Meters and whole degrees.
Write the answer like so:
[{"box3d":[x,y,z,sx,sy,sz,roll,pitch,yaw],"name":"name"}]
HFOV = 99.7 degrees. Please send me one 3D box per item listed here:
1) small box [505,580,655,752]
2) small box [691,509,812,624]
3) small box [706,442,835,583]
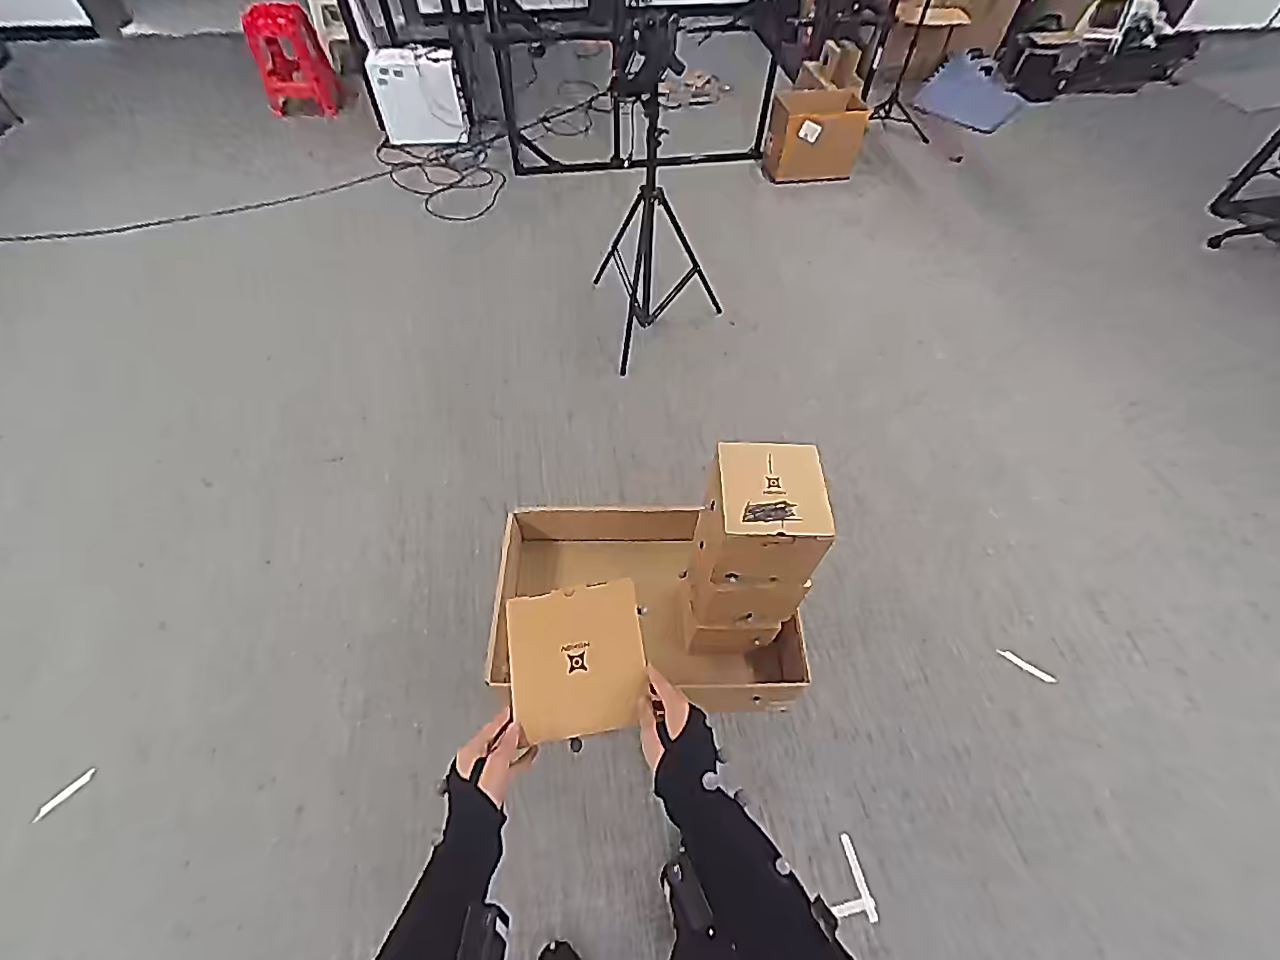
[{"box3d":[-0.074,0.250,0.719,0.168,0.176,0.179,-10,64,-3],"name":"small box"},{"box3d":[0.199,0.165,1.019,0.179,0.176,0.168,-1,55,-4],"name":"small box"},{"box3d":[0.203,0.058,0.892,0.168,0.176,0.179,2,54,-1],"name":"small box"}]
